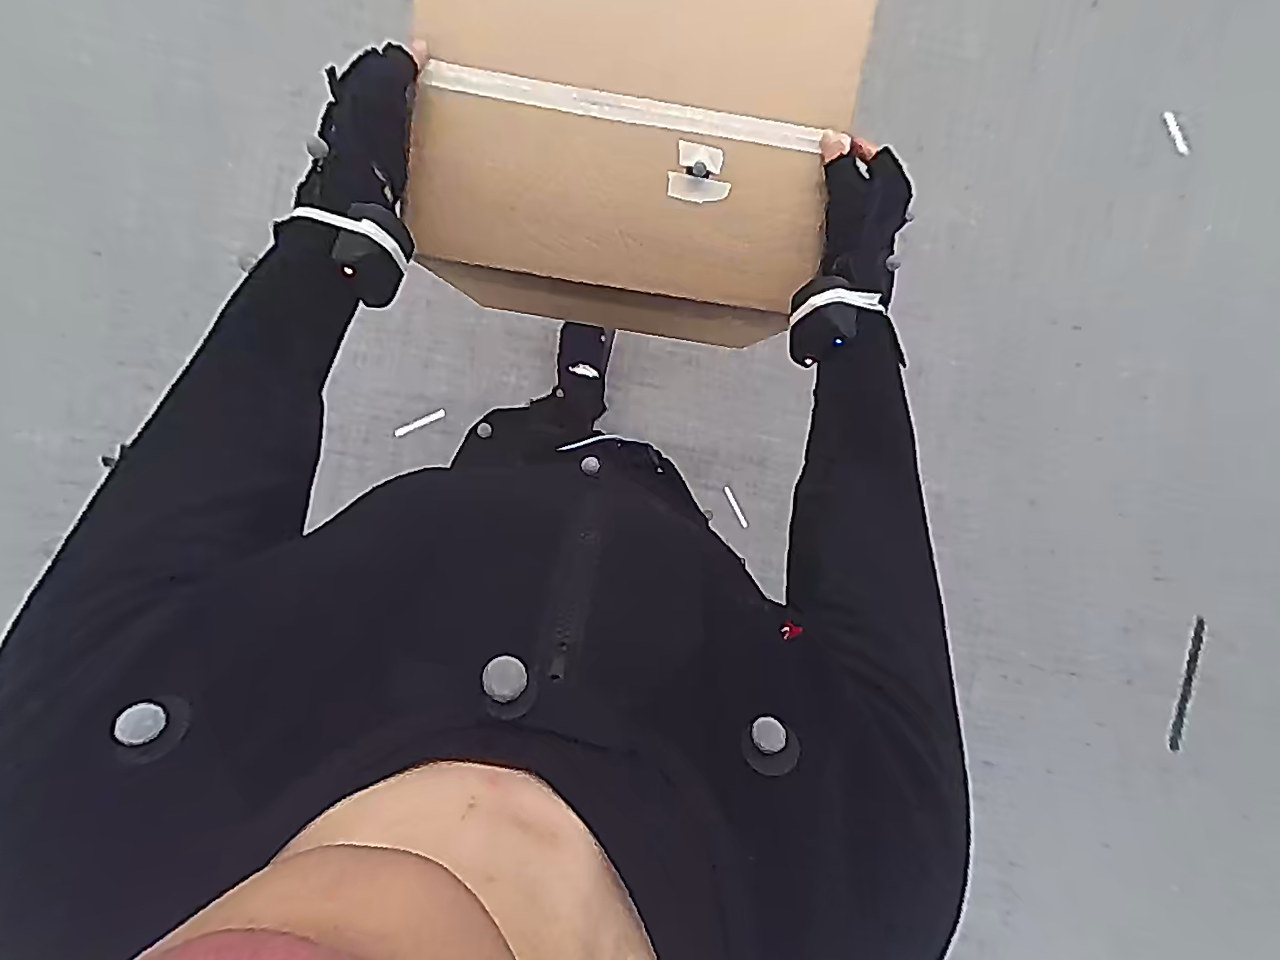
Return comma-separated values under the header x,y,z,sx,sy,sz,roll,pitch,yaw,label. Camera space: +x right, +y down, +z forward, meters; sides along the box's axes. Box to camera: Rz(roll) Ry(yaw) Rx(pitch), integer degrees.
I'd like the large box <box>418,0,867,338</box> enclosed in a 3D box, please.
x,y,z,sx,sy,sz,roll,pitch,yaw,label
-0.008,-0.371,0.658,0.408,0.320,0.320,8,99,-4,large box
